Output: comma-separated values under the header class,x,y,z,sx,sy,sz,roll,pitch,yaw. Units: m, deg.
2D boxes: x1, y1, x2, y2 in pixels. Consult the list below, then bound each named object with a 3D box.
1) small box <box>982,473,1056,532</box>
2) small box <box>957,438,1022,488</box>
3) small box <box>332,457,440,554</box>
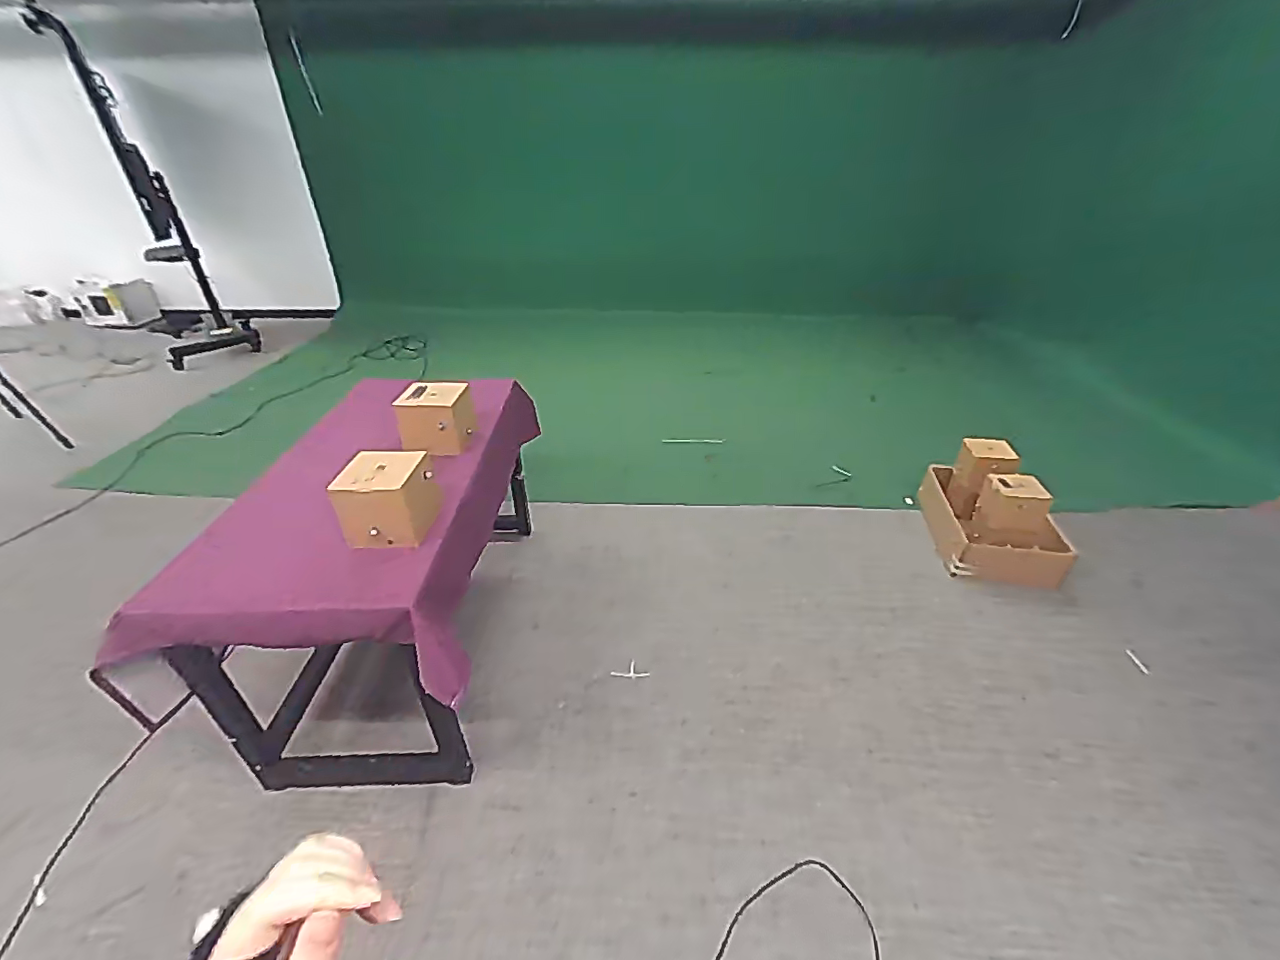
class,x,y,z,sx,sy,sz,roll,pitch,yaw
small box,1.484,0.089,2.136,0.179,0.176,0.168,4,32,8
small box,1.540,-0.071,2.392,0.179,0.176,0.168,3,33,10
small box,-0.597,0.058,1.302,0.168,0.176,0.179,-1,32,2
